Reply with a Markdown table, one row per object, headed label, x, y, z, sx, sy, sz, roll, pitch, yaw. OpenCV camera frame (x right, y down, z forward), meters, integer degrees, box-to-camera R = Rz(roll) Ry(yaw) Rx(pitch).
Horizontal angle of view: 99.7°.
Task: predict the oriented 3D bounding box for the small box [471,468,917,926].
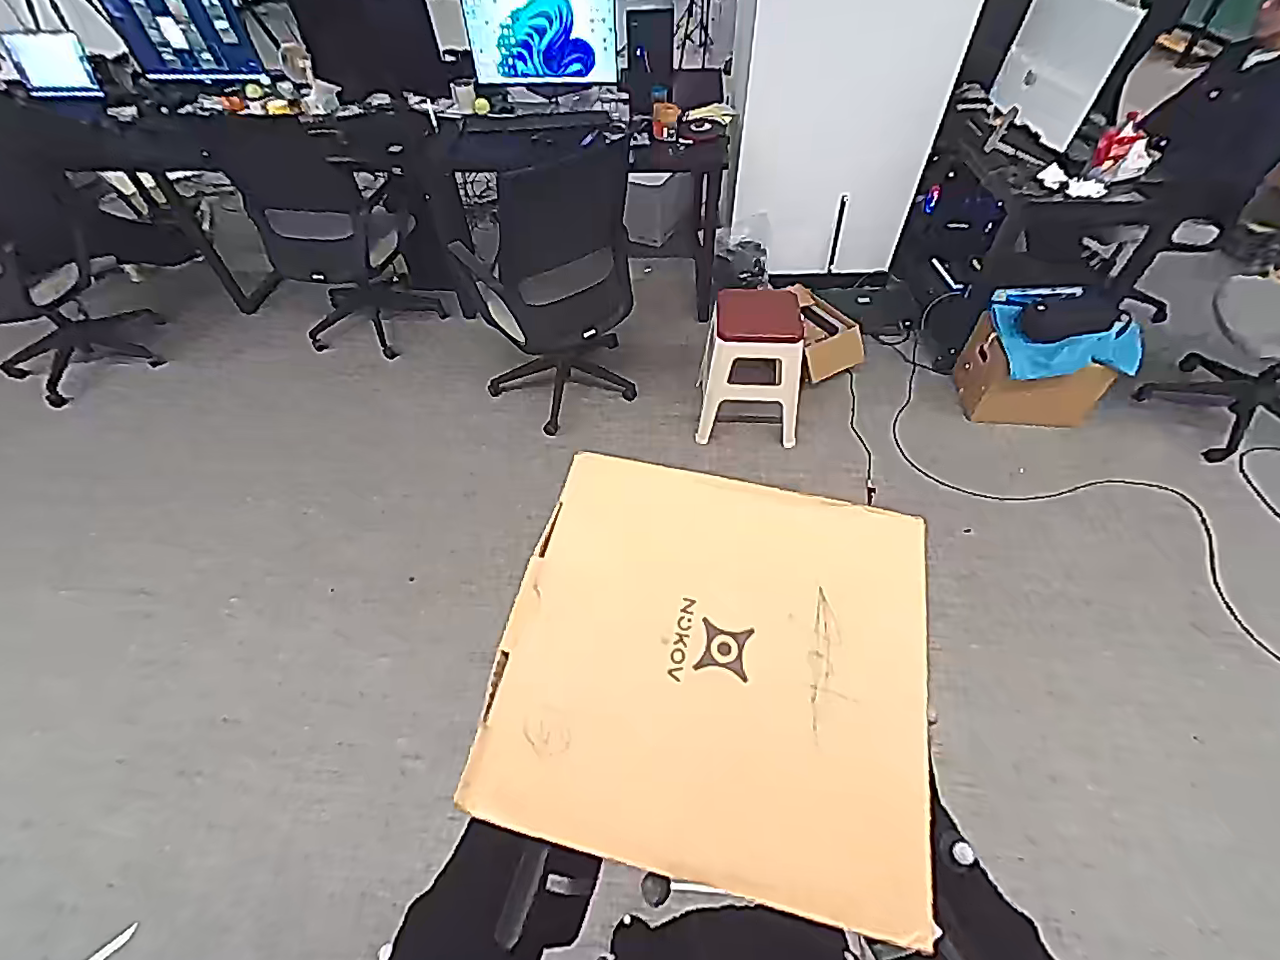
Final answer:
| label | x | y | z | sx | sy | sz | roll | pitch | yaw |
| --- | --- | --- | --- | --- | --- | --- | --- | --- | --- |
| small box | 0.034 | 0.117 | 0.312 | 0.179 | 0.176 | 0.168 | 11 | 62 | 7 |
